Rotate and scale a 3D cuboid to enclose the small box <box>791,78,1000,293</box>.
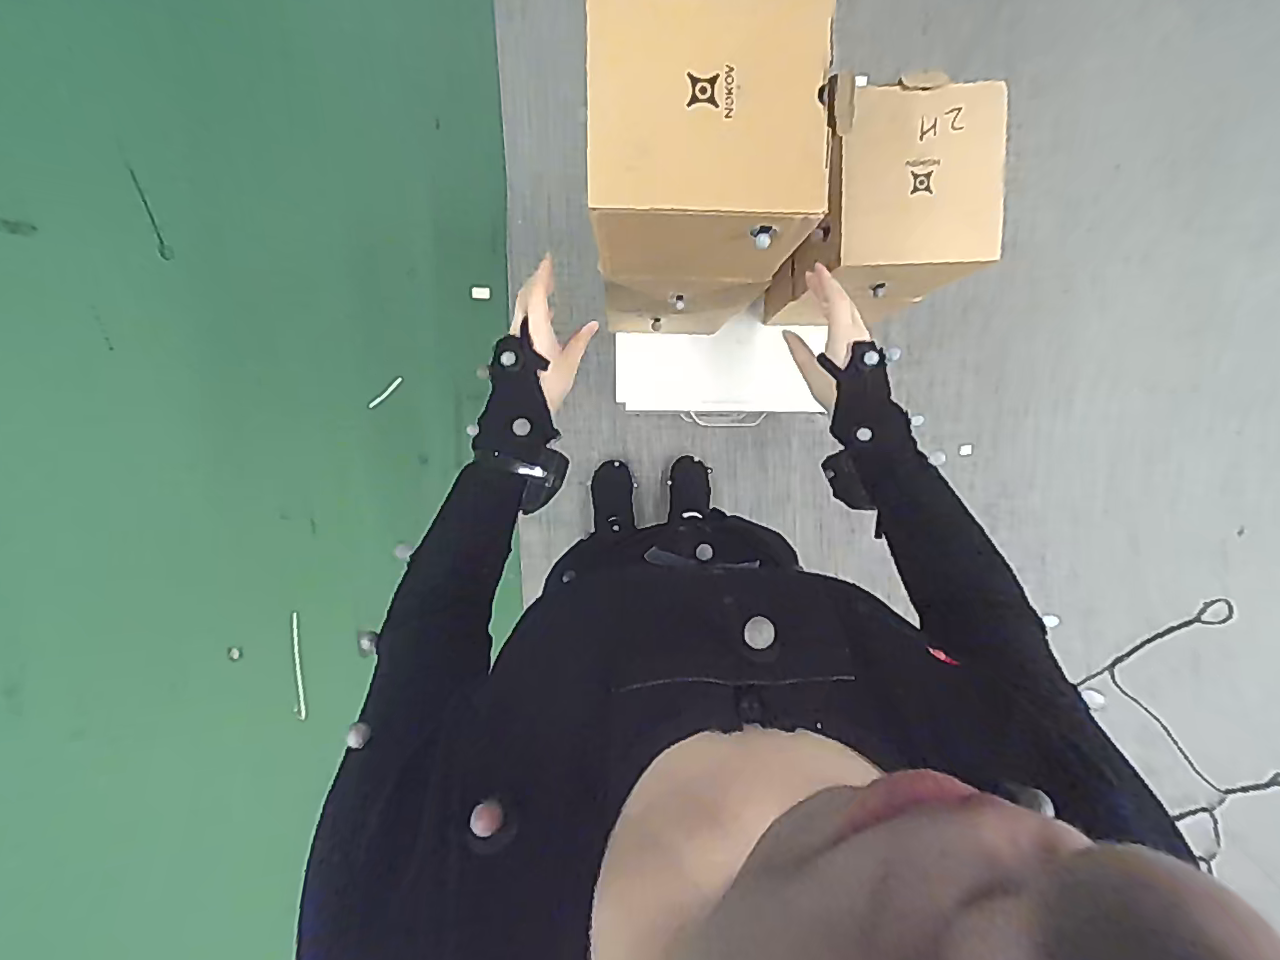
[{"bbox_3d":[0.280,-0.322,0.629,0.168,0.176,0.179,-2,96,0],"label":"small box"}]

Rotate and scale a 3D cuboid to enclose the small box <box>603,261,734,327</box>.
[{"bbox_3d":[0.037,-0.321,0.789,0.179,0.176,0.168,0,96,-2],"label":"small box"}]

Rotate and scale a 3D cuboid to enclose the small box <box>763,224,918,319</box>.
[{"bbox_3d":[0.284,-0.336,0.793,0.179,0.176,0.168,0,96,-1],"label":"small box"}]

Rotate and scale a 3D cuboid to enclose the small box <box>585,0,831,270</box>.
[{"bbox_3d":[0.046,-0.288,0.464,0.179,0.176,0.168,0,95,-3],"label":"small box"}]
